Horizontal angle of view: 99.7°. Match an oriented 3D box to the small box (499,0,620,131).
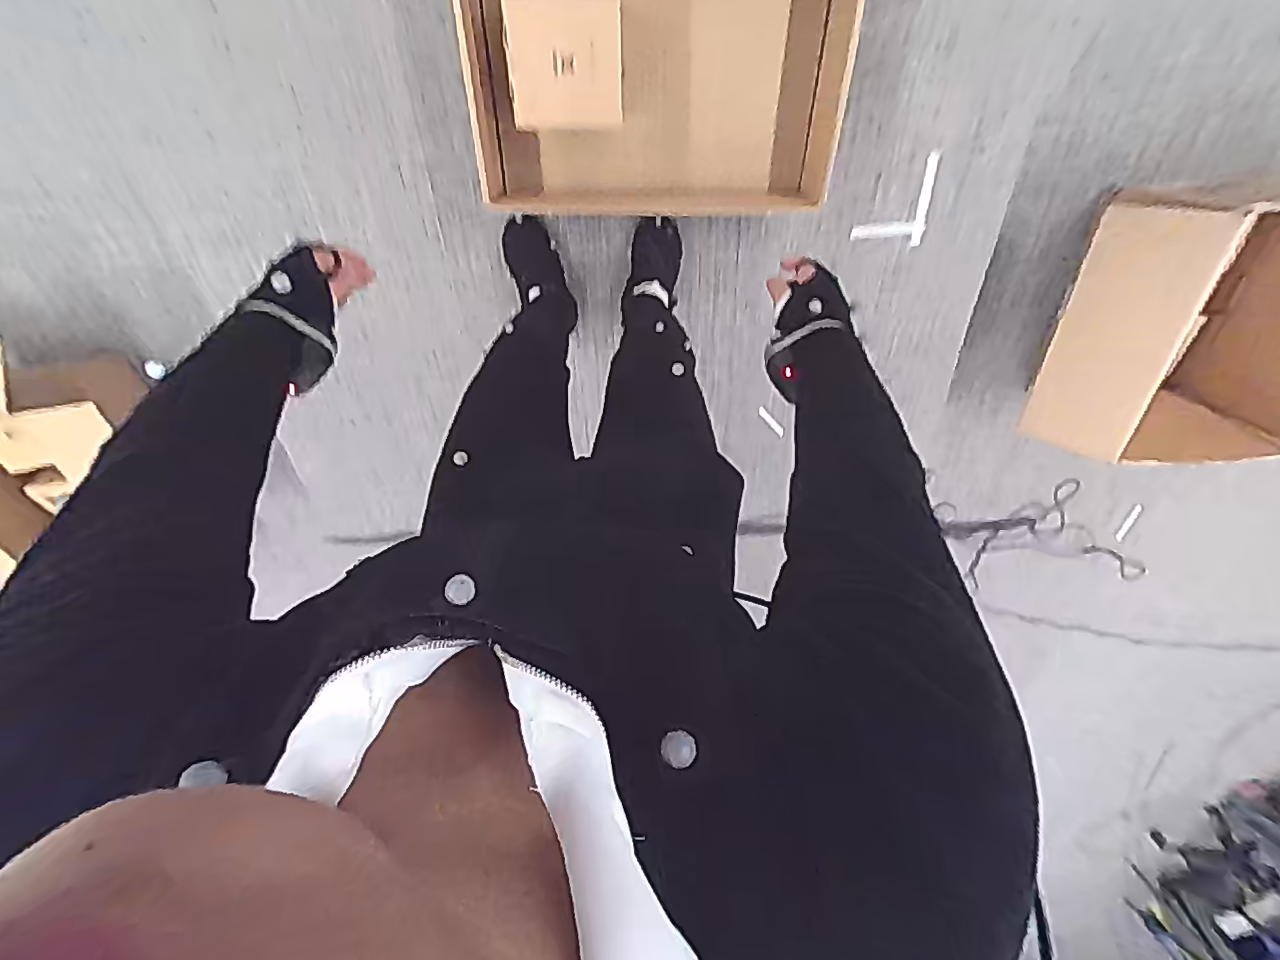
[{"bbox_3d":[-0.122,-0.686,0.900,0.179,0.176,0.168,-2,128,-2],"label":"small box"}]
